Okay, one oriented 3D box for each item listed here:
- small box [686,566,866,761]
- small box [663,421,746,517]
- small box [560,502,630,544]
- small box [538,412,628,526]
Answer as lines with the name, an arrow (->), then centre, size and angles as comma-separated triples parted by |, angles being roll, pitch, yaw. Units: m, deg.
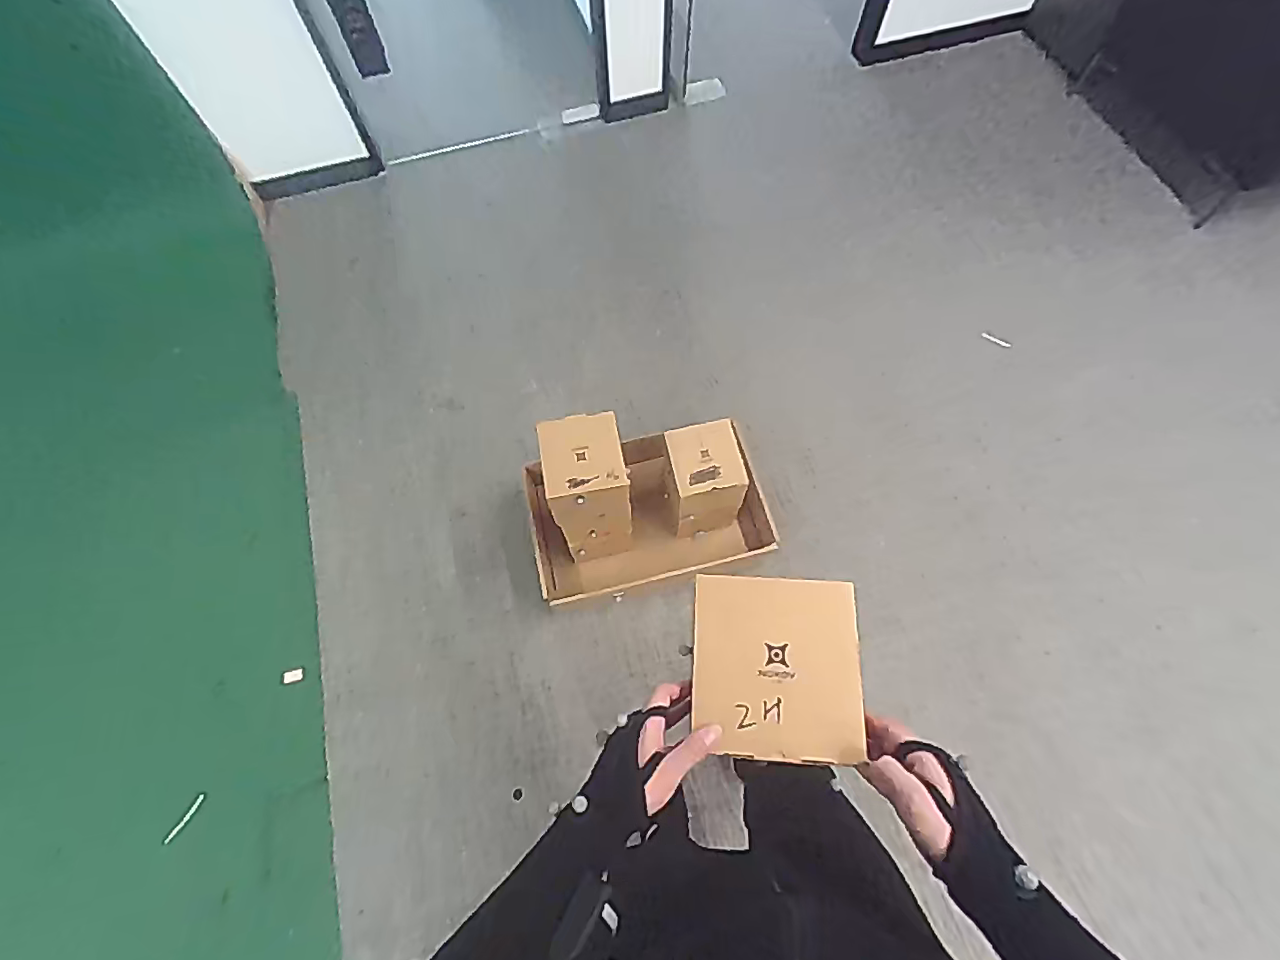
small box -> 0.139, 0.207, 0.611 | 0.168, 0.176, 0.179 | 2, 68, 5
small box -> 0.153, -0.019, 1.335 | 0.168, 0.176, 0.179 | -11, 66, -3
small box -> -0.122, 0.037, 1.314 | 0.168, 0.176, 0.179 | -12, 67, -6
small box -> -0.120, -0.020, 1.160 | 0.168, 0.176, 0.179 | -9, 66, -5
